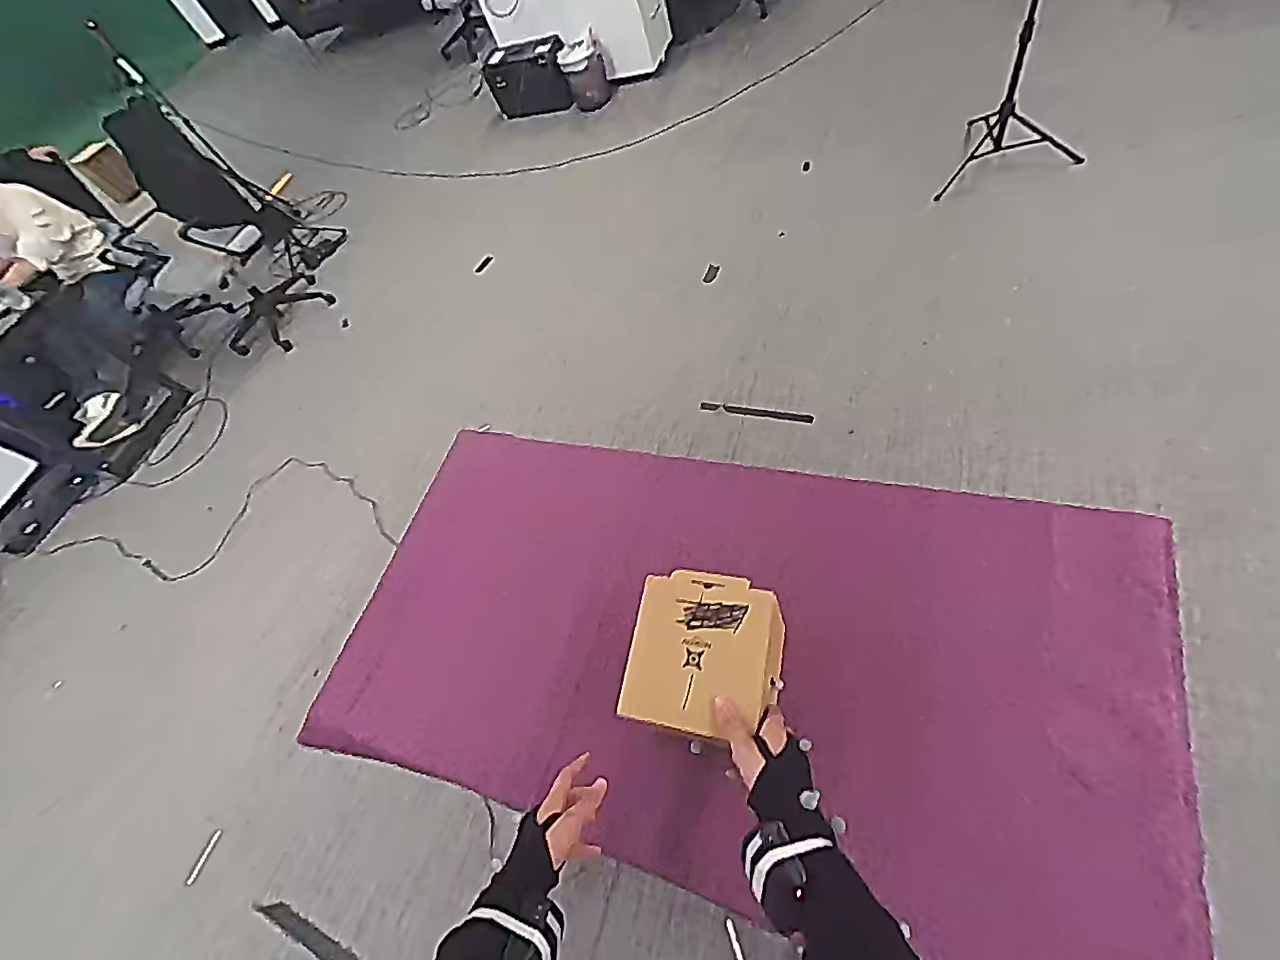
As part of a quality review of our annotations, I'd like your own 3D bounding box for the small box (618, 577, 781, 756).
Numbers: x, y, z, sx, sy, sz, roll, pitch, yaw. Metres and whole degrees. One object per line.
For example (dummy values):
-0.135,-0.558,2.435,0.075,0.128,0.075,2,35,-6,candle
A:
0.091,0.249,0.716,0.168,0.176,0.179,4,62,22,small box
